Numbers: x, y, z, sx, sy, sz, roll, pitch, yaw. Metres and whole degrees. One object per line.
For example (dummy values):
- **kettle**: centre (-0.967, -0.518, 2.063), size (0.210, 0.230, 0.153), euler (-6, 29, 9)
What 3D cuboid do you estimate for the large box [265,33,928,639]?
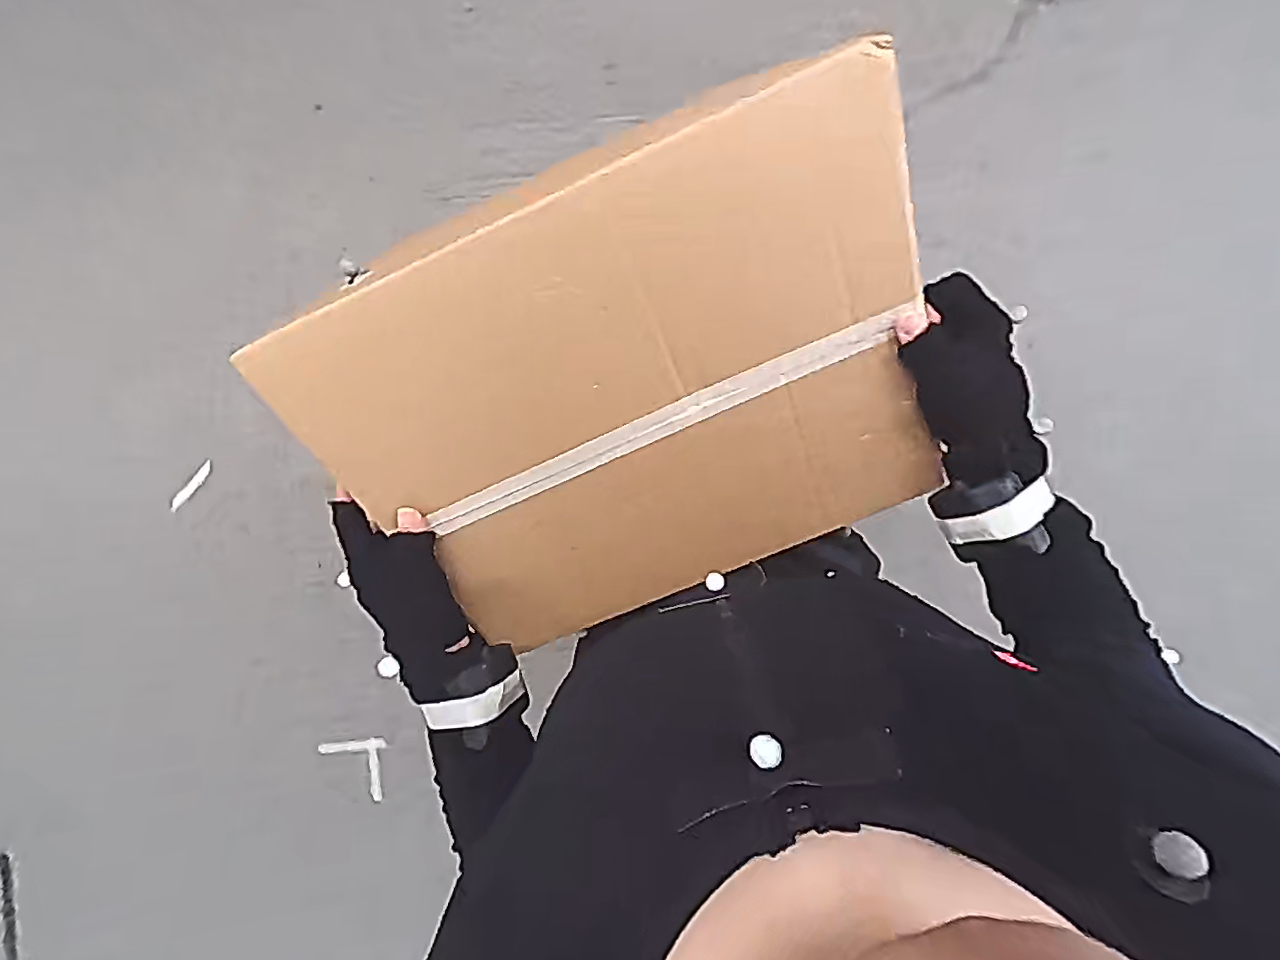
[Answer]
- **large box**: centre (-0.019, -0.124, 0.516), size (0.408, 0.320, 0.320), euler (-23, 124, 6)
